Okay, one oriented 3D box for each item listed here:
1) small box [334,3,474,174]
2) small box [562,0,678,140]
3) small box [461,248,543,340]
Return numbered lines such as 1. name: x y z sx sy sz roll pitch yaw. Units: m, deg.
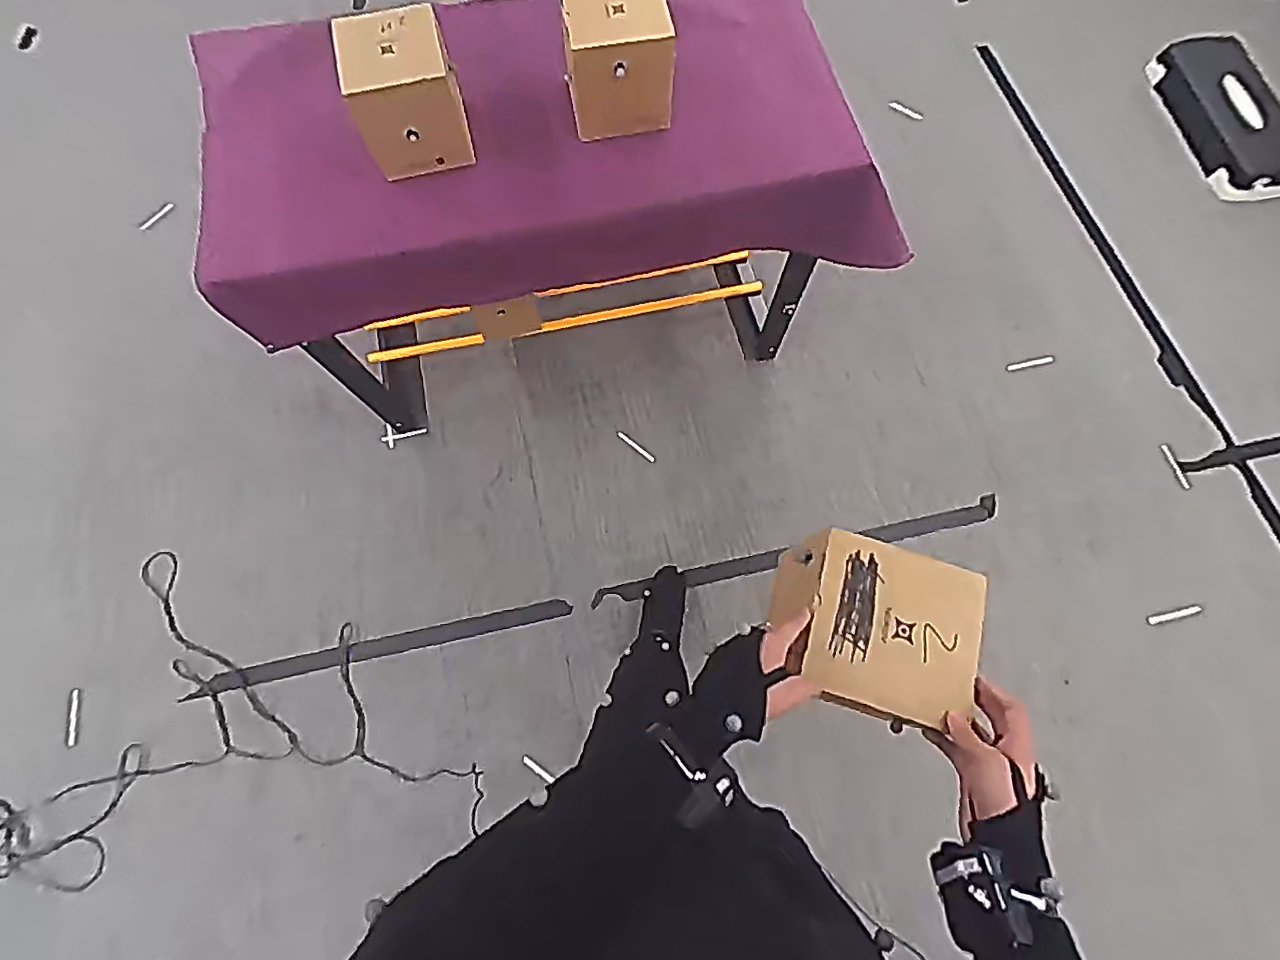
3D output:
1. small box: -0.400 -0.665 0.940 0.168 0.176 0.179 -14 73 -4
2. small box: -0.036 -0.749 0.967 0.179 0.176 0.168 -10 73 -2
3. small box: -0.387 -0.522 1.539 0.179 0.176 0.168 -15 73 -6
